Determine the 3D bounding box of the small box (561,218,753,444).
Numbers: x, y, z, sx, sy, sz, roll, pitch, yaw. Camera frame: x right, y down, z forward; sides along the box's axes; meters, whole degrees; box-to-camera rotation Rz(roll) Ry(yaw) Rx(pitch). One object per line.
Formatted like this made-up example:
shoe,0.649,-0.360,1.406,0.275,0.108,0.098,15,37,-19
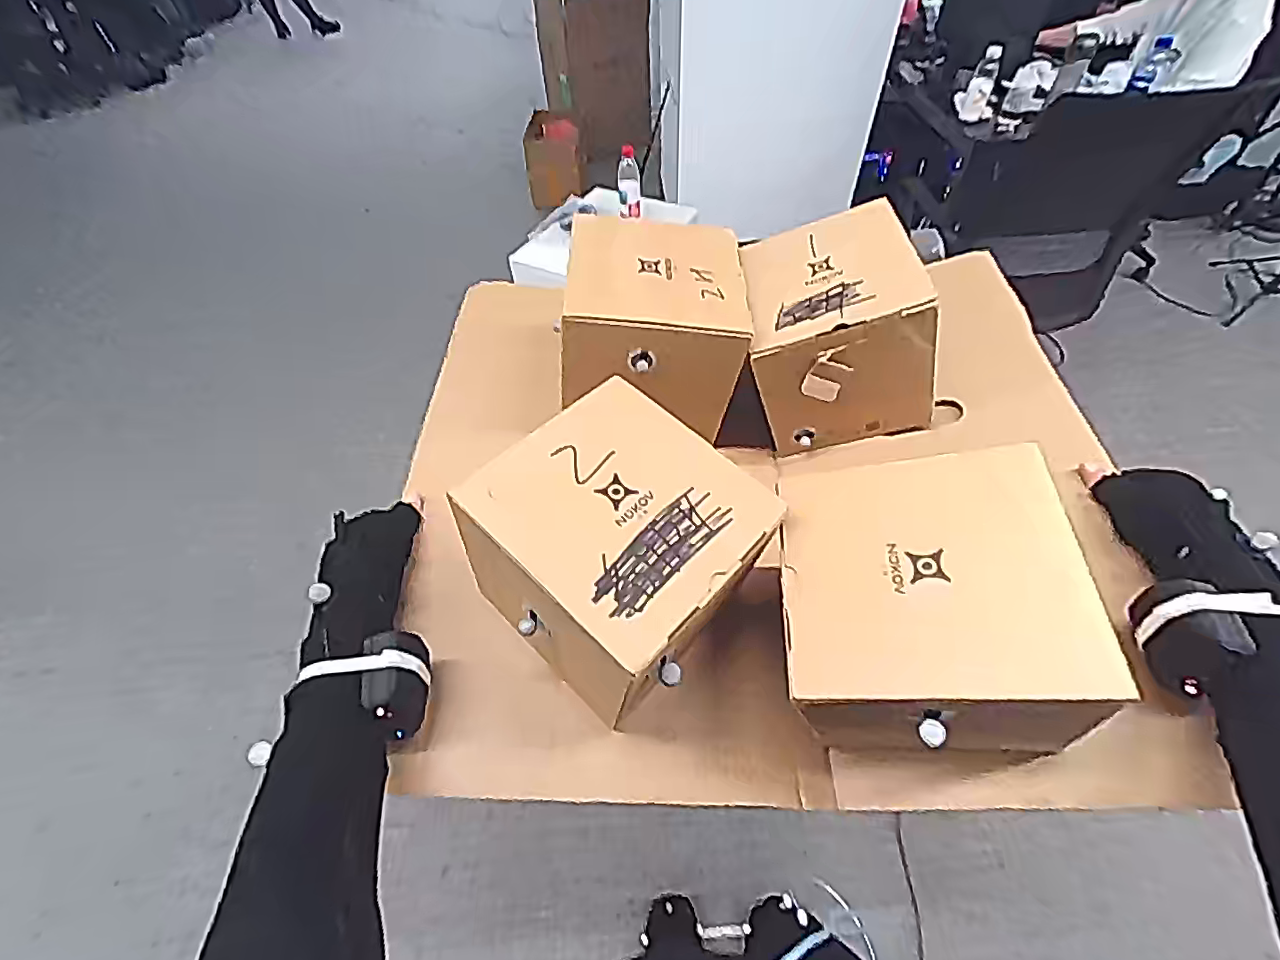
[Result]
small box,0.010,-0.154,0.590,0.179,0.176,0.168,4,56,-5
